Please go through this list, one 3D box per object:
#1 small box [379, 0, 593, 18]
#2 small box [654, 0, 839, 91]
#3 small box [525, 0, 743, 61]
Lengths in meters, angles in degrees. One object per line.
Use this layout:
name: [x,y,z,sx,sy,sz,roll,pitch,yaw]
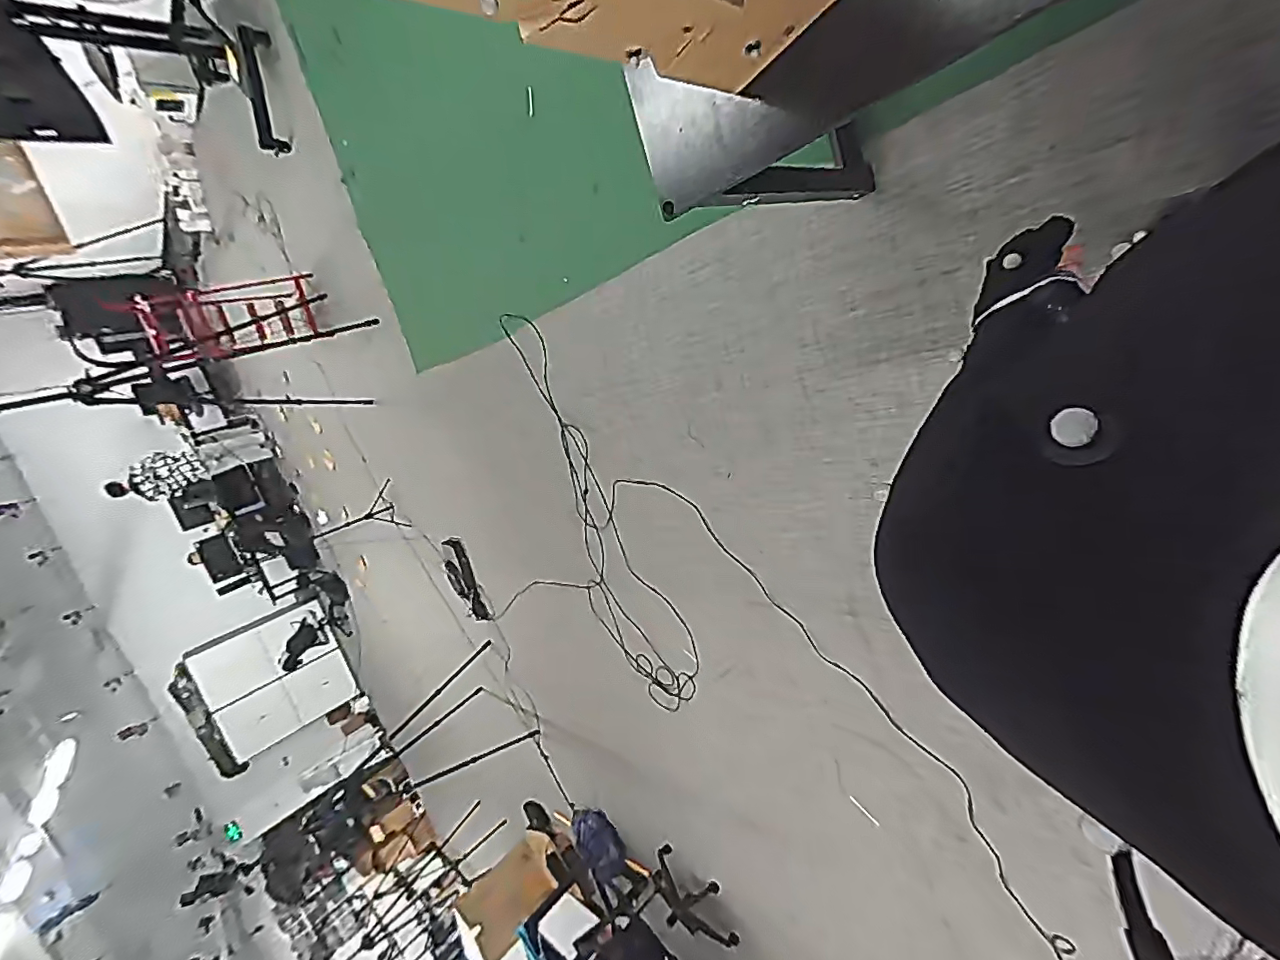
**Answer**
small box: [-0.125,-0.491,0.423,0.168,0.176,0.179,23,127,36]
small box: [0.103,-0.600,0.634,0.168,0.176,0.179,-17,98,49]
small box: [-0.010,-0.542,0.530,0.168,0.176,0.179,12,118,42]
